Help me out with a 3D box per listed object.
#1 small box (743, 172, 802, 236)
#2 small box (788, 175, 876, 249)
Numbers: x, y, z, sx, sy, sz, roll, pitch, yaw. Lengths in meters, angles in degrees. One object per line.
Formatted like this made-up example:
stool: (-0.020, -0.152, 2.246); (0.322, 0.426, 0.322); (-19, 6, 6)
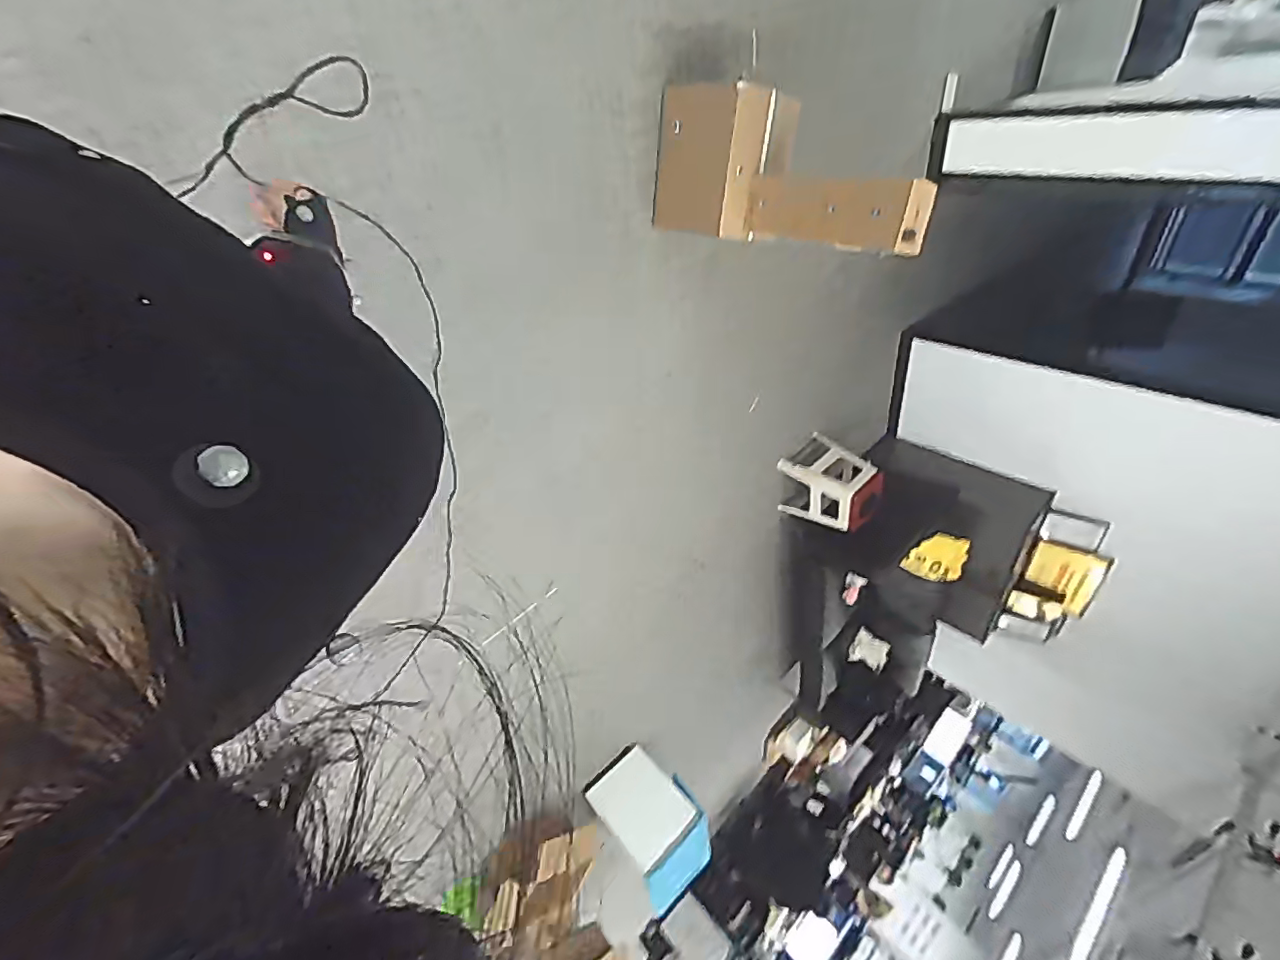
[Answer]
small box: (0.451, -0.860, 1.693); (0.179, 0.176, 0.168); (-19, 126, -40)
small box: (0.560, -0.790, 1.595); (0.168, 0.176, 0.179); (-17, 124, -41)
